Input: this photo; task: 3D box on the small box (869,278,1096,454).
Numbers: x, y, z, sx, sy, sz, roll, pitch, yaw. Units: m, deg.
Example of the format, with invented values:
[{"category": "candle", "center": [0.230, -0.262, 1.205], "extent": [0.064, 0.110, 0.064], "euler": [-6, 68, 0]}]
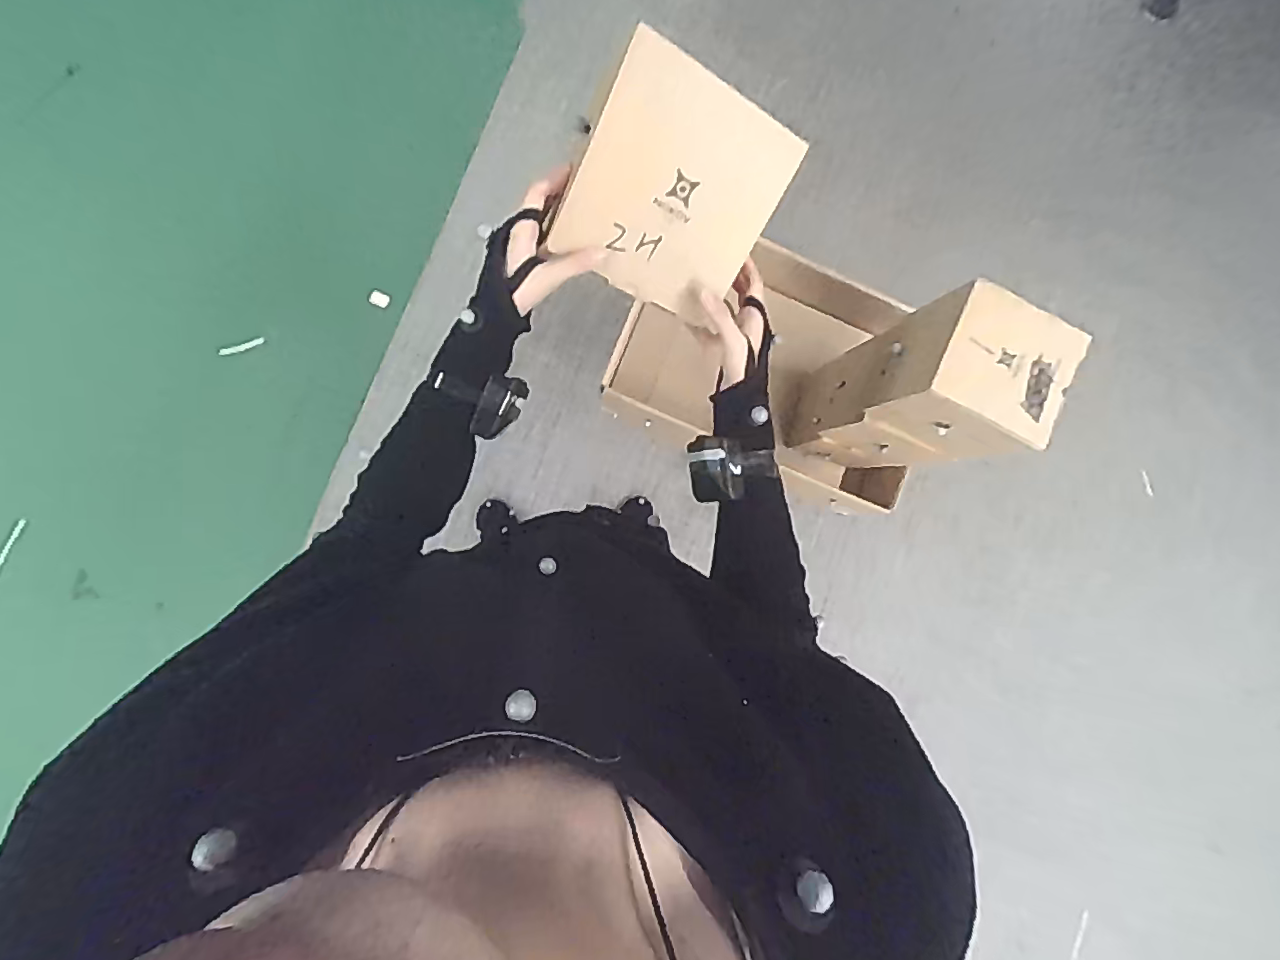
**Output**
[{"category": "small box", "center": [0.464, -0.144, 0.759], "extent": [0.179, 0.176, 0.168], "euler": [26, 86, -4]}]

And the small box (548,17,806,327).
[{"category": "small box", "center": [0.016, -0.280, 0.516], "extent": [0.168, 0.176, 0.179], "euler": [21, 116, -22]}]
